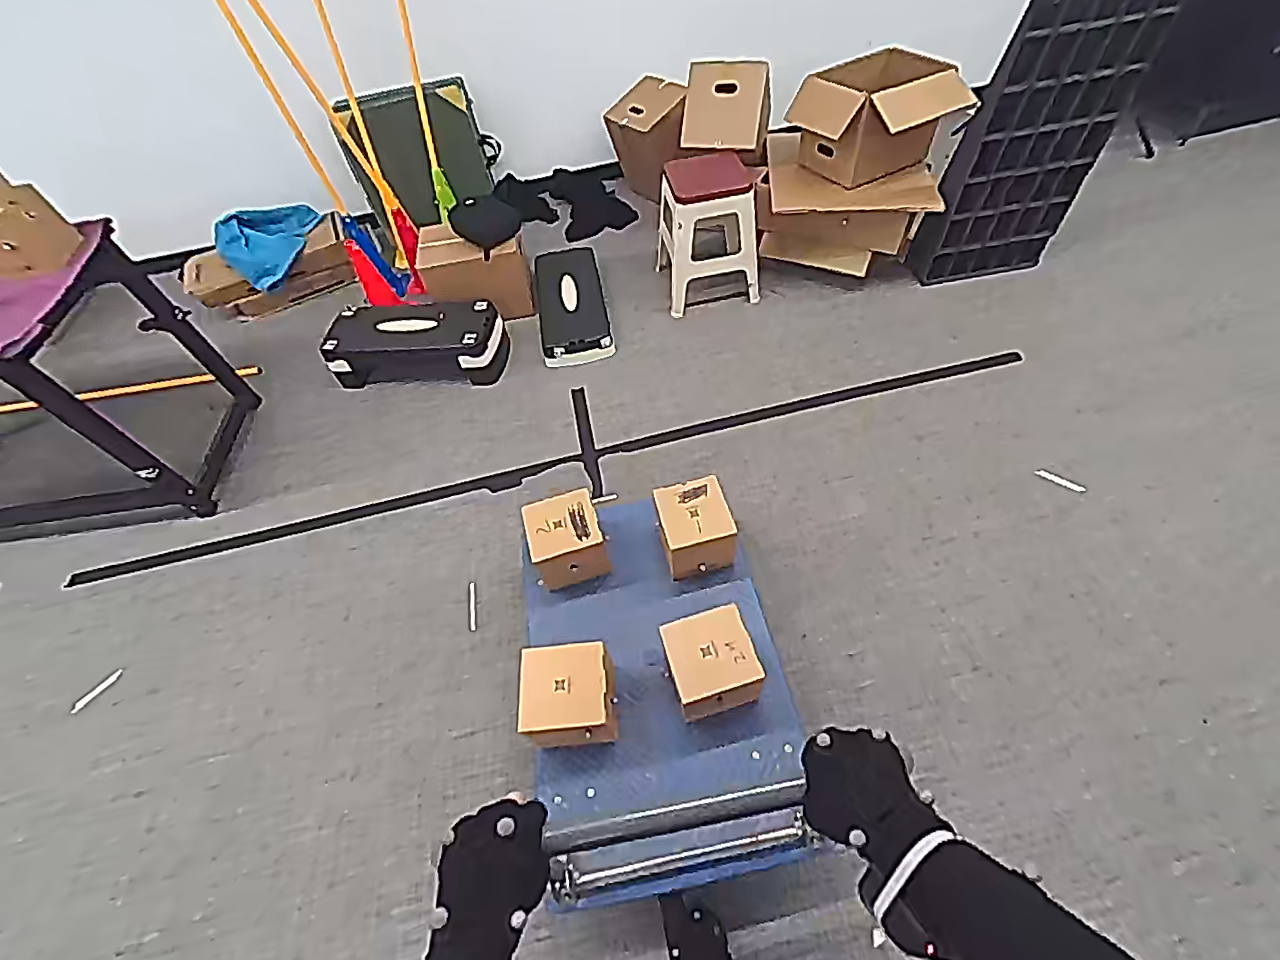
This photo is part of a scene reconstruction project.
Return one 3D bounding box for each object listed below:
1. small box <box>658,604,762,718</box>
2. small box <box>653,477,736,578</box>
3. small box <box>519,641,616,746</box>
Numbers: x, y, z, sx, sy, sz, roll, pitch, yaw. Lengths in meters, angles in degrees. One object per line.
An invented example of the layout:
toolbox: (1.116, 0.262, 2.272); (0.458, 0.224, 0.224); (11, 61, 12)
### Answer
small box: (0.150, 0.397, 1.173); (0.179, 0.176, 0.168); (-16, 55, -5)
small box: (0.134, 0.123, 1.371); (0.168, 0.176, 0.179); (-14, 55, -3)
small box: (-0.150, 0.463, 1.163); (0.179, 0.176, 0.168); (-6, 54, 0)
